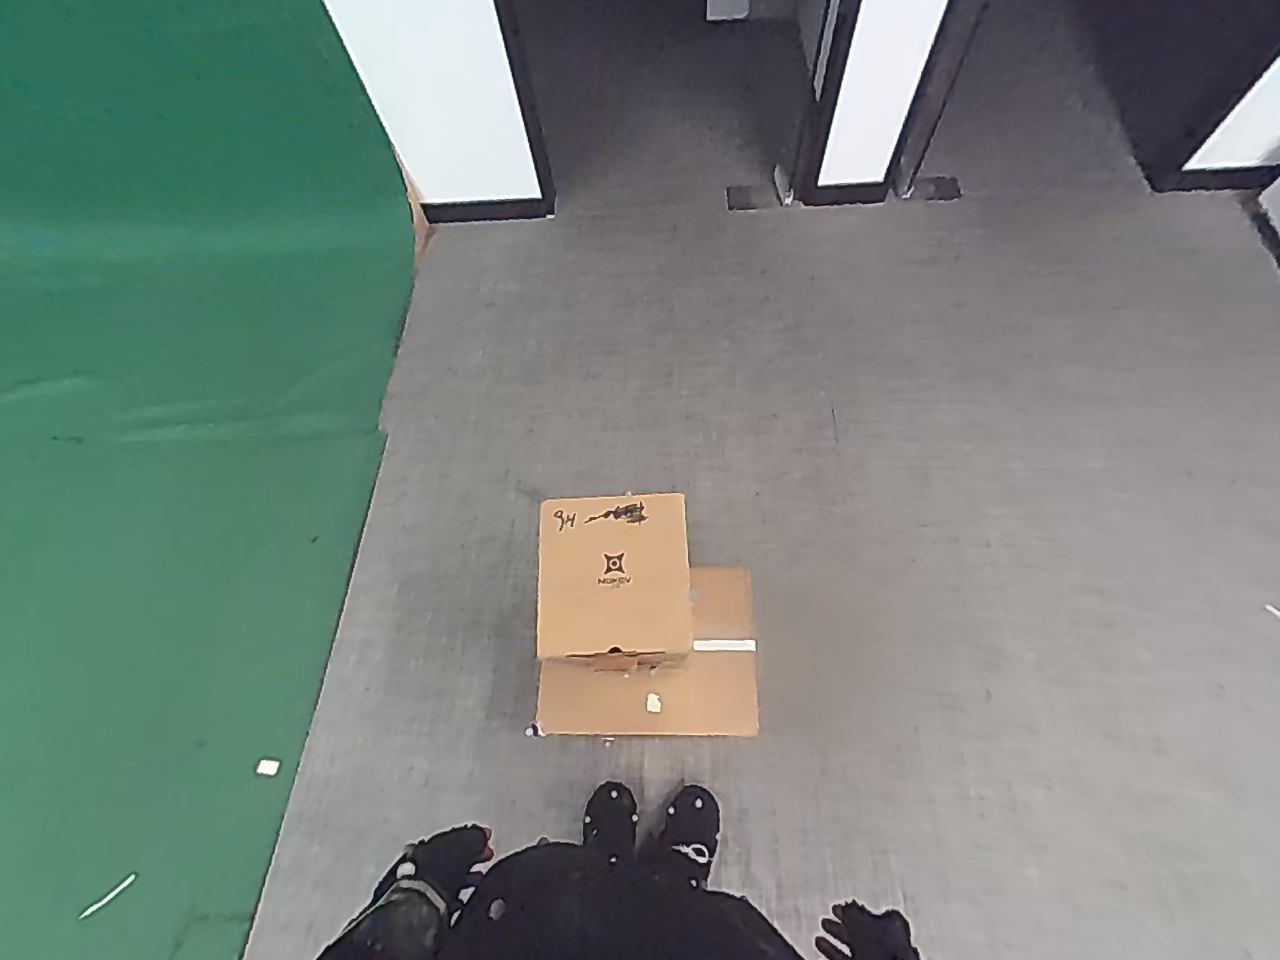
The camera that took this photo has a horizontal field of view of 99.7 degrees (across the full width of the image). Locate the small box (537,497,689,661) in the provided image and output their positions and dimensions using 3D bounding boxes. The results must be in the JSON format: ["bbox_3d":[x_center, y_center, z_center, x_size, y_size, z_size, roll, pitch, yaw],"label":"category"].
[{"bbox_3d":[-0.026,0.130,0.668,0.168,0.176,0.179,-3,70,1],"label":"small box"}]

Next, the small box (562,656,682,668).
[{"bbox_3d":[-0.020,0.191,0.819,0.168,0.176,0.179,-1,68,2],"label":"small box"}]
